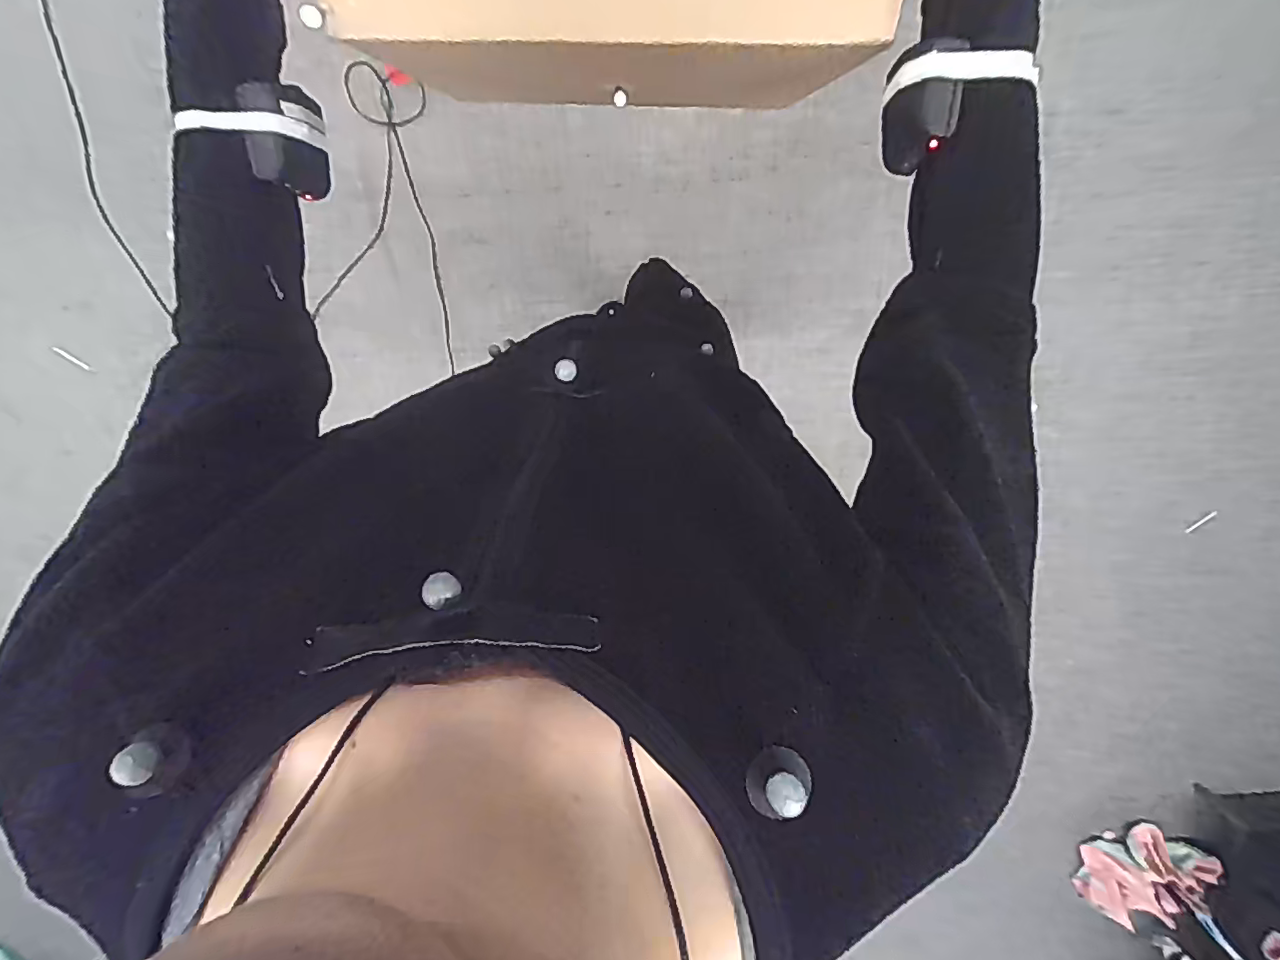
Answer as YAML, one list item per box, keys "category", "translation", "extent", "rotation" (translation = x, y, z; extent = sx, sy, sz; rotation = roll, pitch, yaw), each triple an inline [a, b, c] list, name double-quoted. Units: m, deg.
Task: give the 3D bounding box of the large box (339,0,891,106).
- category: "large box"
  translation: [-0.016, -0.522, 0.460]
  extent: [0.408, 0.320, 0.320]
  rotation: [1, 117, 1]
